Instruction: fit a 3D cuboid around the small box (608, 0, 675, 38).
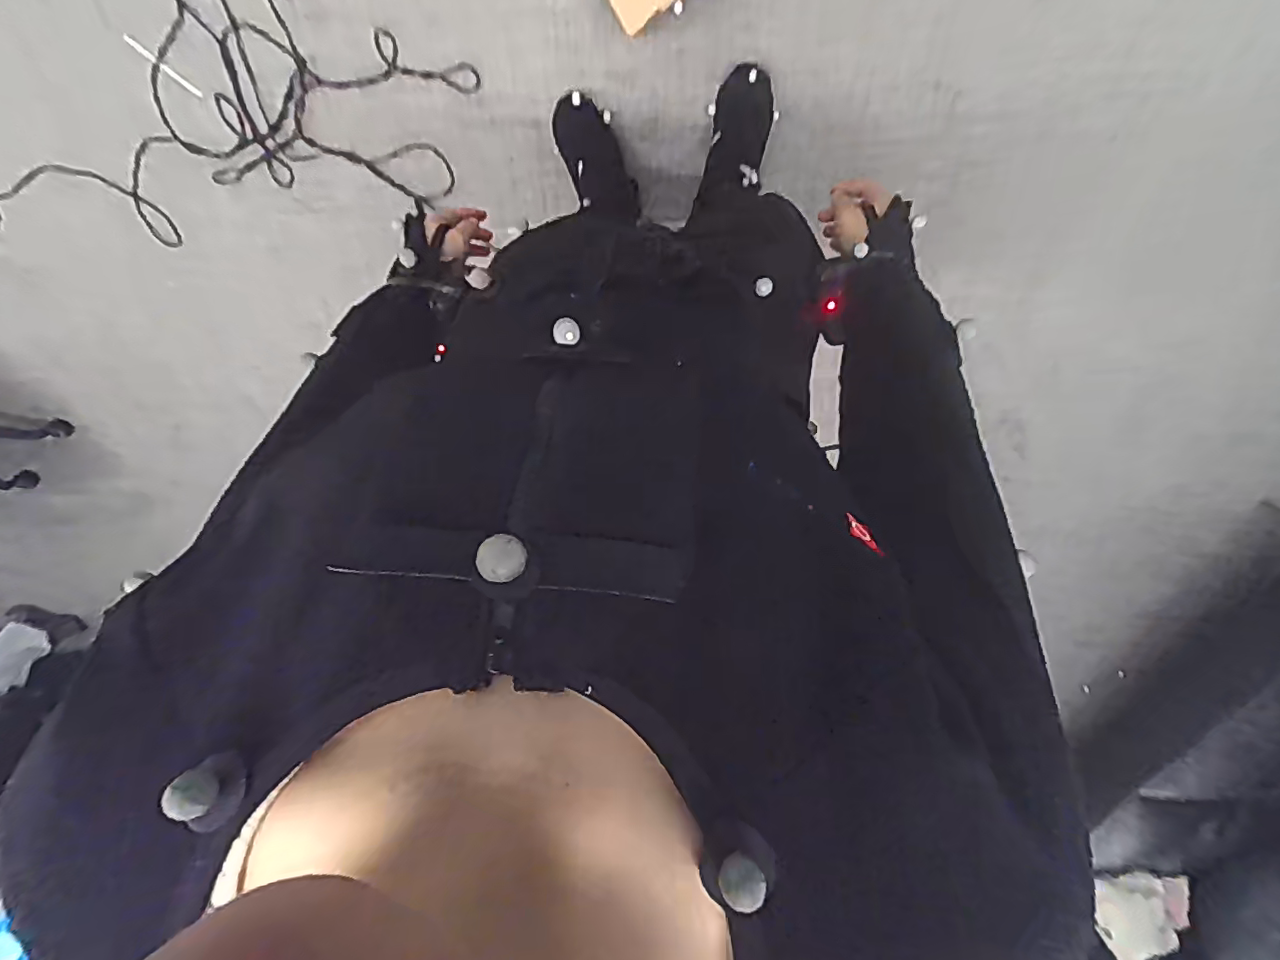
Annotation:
[{"bbox_3d":[0.006,-0.829,0.827,0.168,0.176,0.179,-27,123,24],"label":"small box"}]
